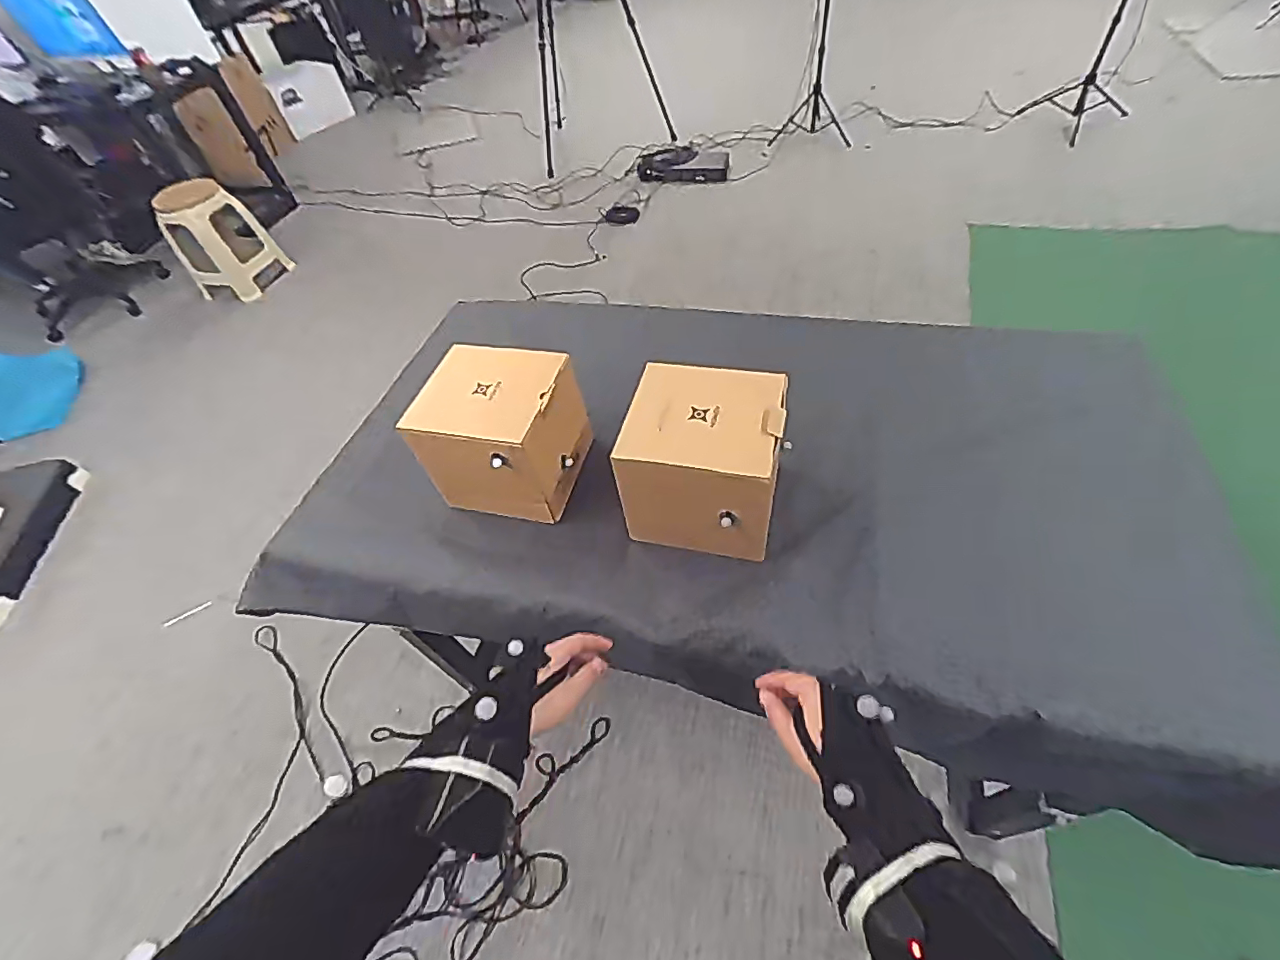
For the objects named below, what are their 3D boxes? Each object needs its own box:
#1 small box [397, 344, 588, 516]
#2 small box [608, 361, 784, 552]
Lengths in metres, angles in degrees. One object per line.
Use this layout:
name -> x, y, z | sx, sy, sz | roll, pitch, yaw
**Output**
small box -> -0.190, -0.068, 0.753 | 0.179, 0.176, 0.168 | 8, 53, 14
small box -> 0.078, -0.027, 0.678 | 0.179, 0.176, 0.168 | 7, 52, 16
